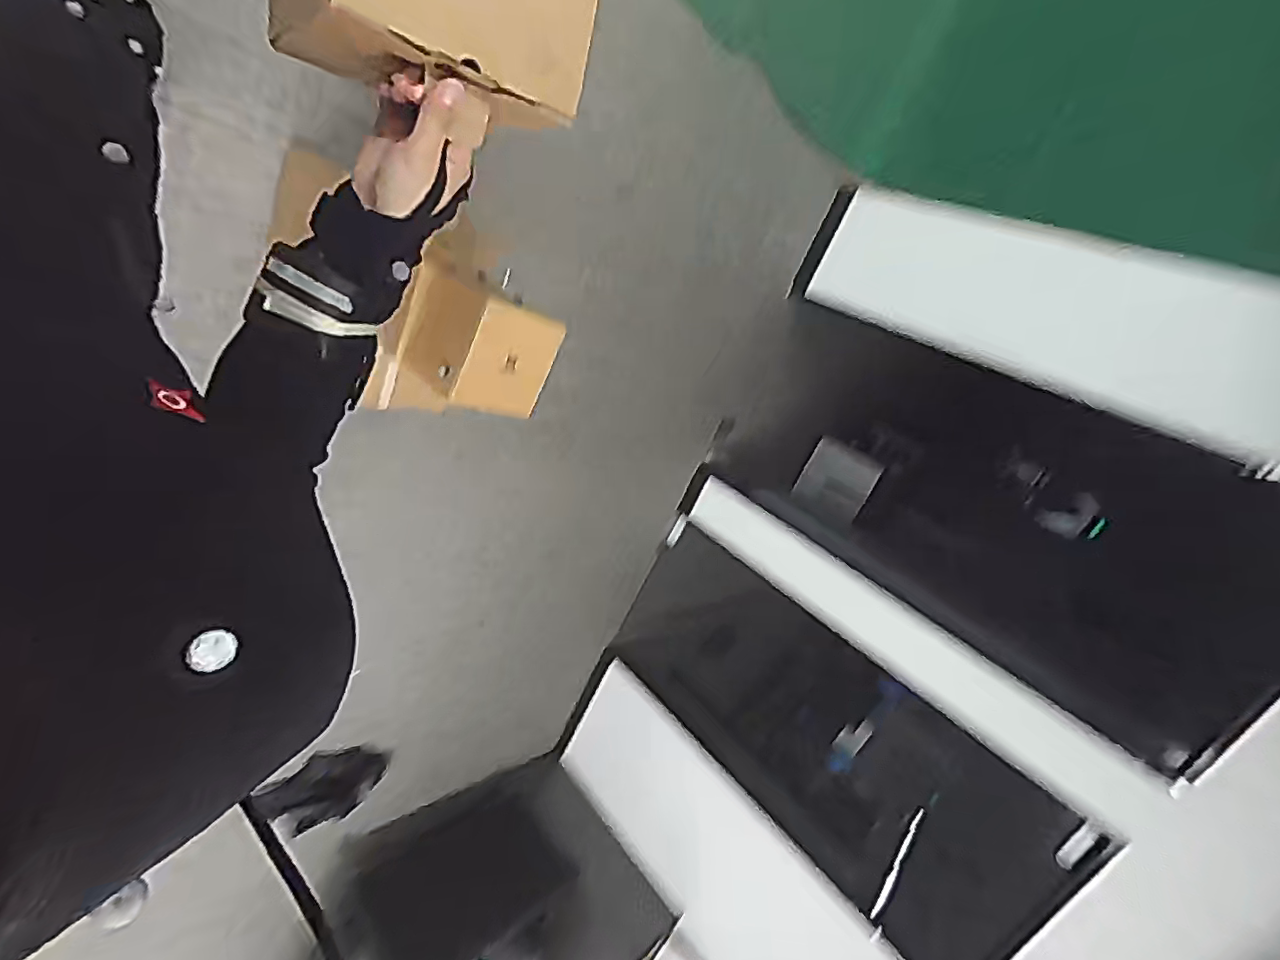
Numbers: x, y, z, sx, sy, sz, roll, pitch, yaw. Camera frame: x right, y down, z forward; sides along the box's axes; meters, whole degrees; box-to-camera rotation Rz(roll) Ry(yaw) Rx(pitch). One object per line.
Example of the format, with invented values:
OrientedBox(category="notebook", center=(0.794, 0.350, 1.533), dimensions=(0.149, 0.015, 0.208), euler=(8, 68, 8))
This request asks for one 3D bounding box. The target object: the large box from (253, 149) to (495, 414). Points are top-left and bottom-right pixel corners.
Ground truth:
OrientedBox(category="large box", center=(-0.568, -0.398, 1.142), dimensions=(0.320, 0.320, 0.408), euler=(1, 121, -50))

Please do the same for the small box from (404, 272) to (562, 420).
OrientedBox(category="small box", center=(-0.271, -0.226, 0.920), dimensions=(0.168, 0.176, 0.179), euler=(6, 117, -54))
